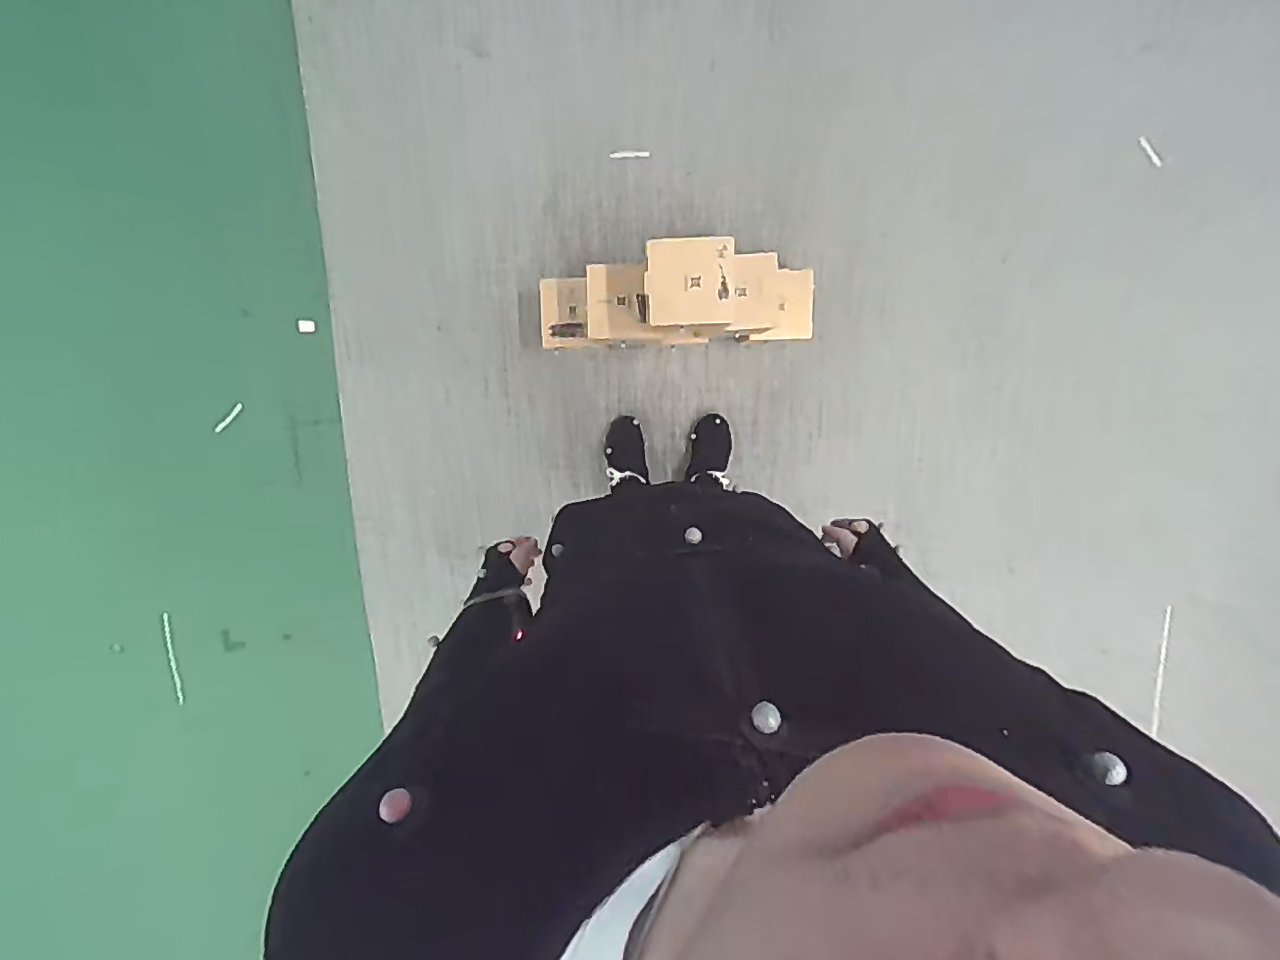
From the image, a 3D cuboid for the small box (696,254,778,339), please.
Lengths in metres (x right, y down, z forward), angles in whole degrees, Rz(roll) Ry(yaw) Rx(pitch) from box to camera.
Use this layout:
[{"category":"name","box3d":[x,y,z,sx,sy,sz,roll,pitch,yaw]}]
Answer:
[{"category":"small box","box3d":[0.225,-0.434,1.303,0.179,0.176,0.168,-4,100,-1]}]

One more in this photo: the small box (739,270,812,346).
[{"category":"small box","box3d":[0.360,-0.459,1.465,0.168,0.176,0.179,-2,99,1]}]

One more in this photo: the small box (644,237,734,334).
[{"category":"small box","box3d":[0.099,-0.402,1.142,0.179,0.176,0.168,-2,100,1]}]

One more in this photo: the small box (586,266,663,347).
[{"category":"small box","box3d":[-0.034,-0.413,1.306,0.179,0.176,0.168,0,99,1]}]
